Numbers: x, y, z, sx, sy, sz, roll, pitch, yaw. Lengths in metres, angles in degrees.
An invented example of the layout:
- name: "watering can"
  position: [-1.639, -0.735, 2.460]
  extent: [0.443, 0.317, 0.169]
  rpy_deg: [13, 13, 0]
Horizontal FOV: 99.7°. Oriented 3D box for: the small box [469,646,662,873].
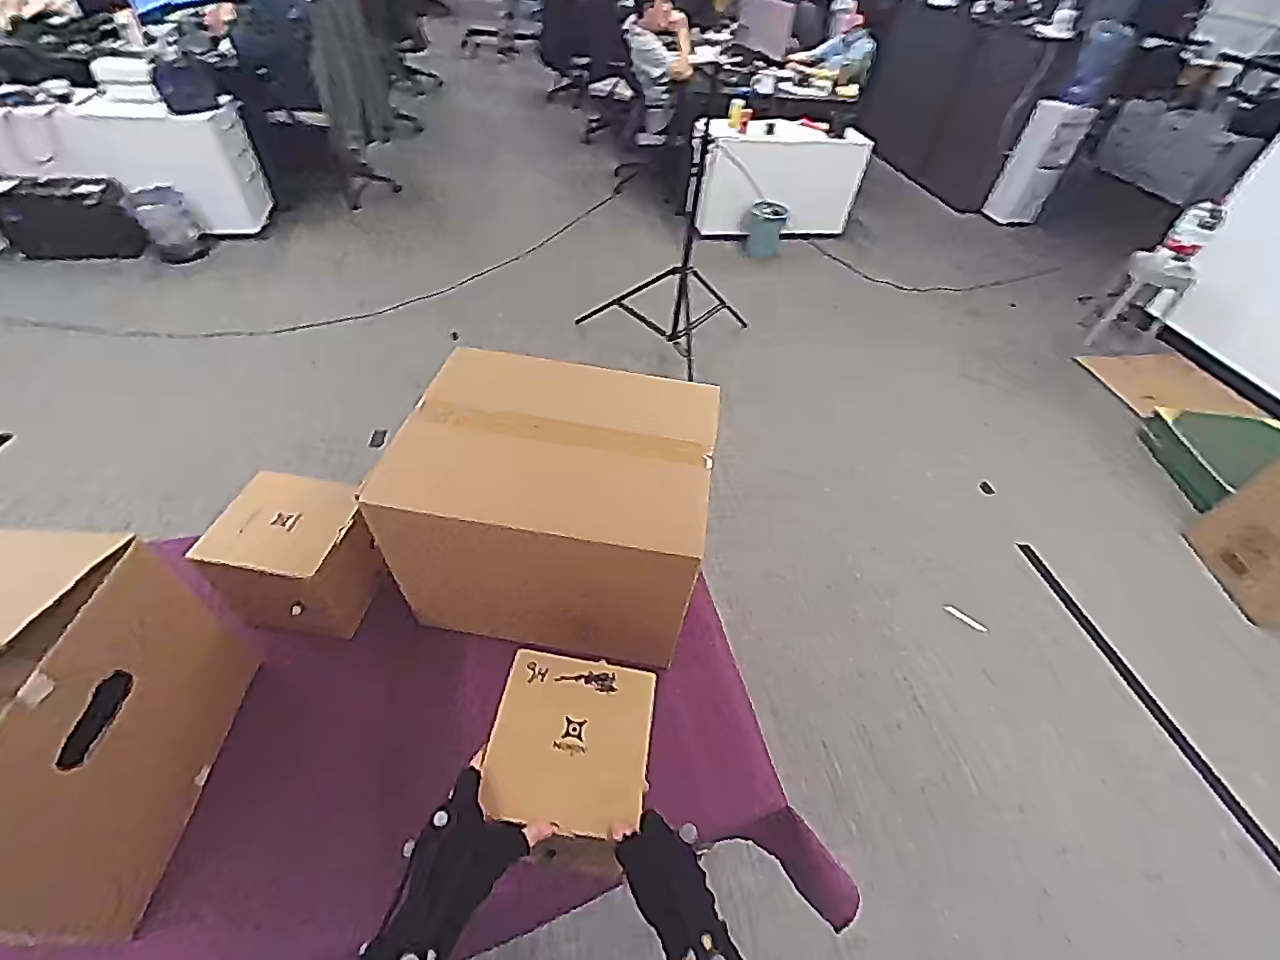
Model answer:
- name: "small box"
  position: [-0.077, 0.321, 0.616]
  extent: [0.168, 0.176, 0.179]
  rpy_deg: [12, 45, 0]
